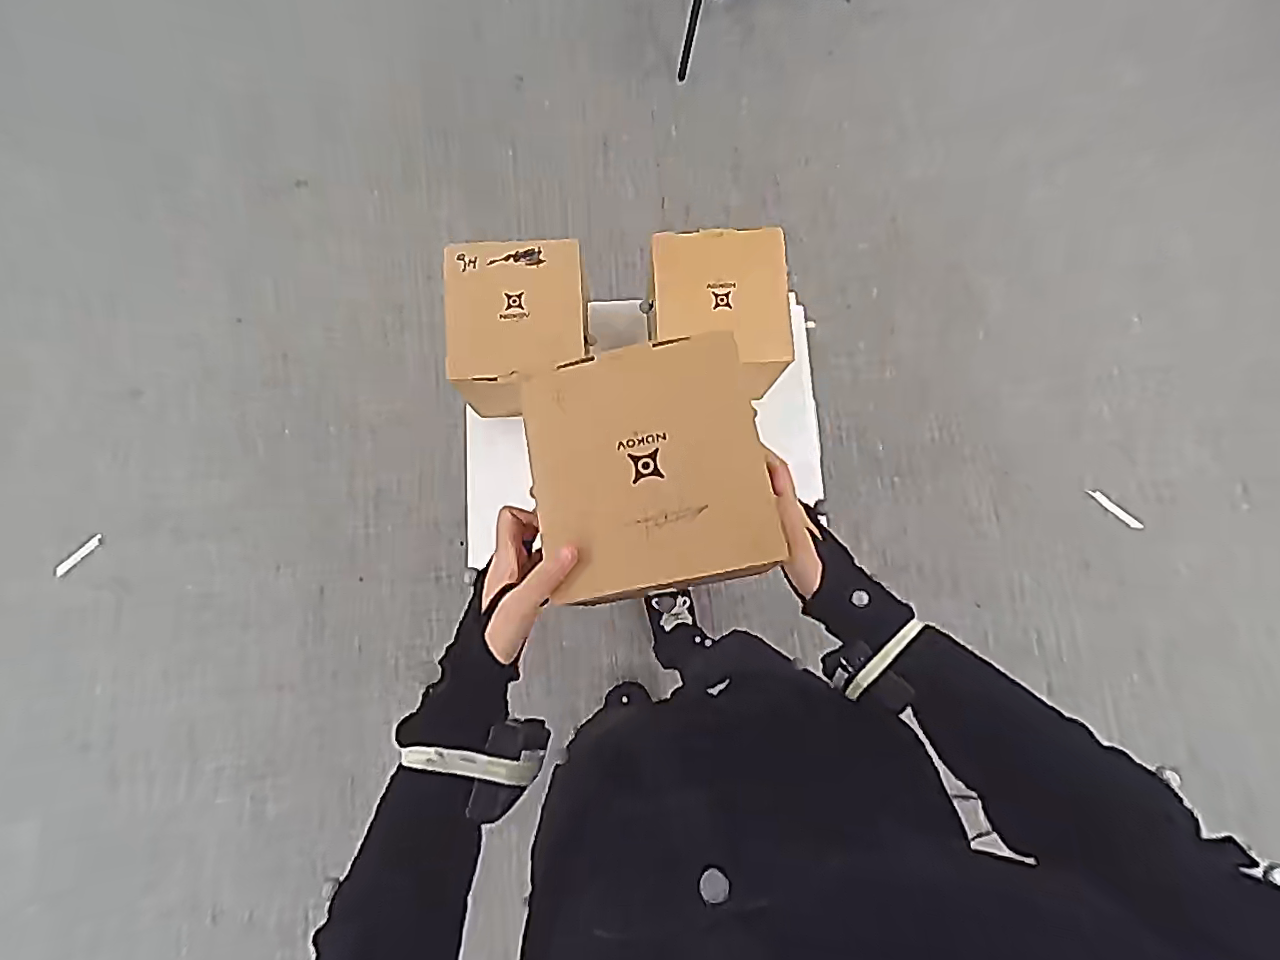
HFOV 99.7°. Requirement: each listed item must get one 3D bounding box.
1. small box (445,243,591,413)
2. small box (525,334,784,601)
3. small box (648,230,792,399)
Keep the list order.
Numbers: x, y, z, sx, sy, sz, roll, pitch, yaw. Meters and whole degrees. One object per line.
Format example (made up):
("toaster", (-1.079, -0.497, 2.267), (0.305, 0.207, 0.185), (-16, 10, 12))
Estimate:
("small box", (-0.153, -0.191, 0.727), (0.168, 0.176, 0.179), (-3, 83, -3))
("small box", (0.011, 0.004, 0.468), (0.168, 0.176, 0.179), (-12, 77, 3))
("small box", (0.097, -0.210, 0.737), (0.168, 0.176, 0.179), (-3, 82, -1))
